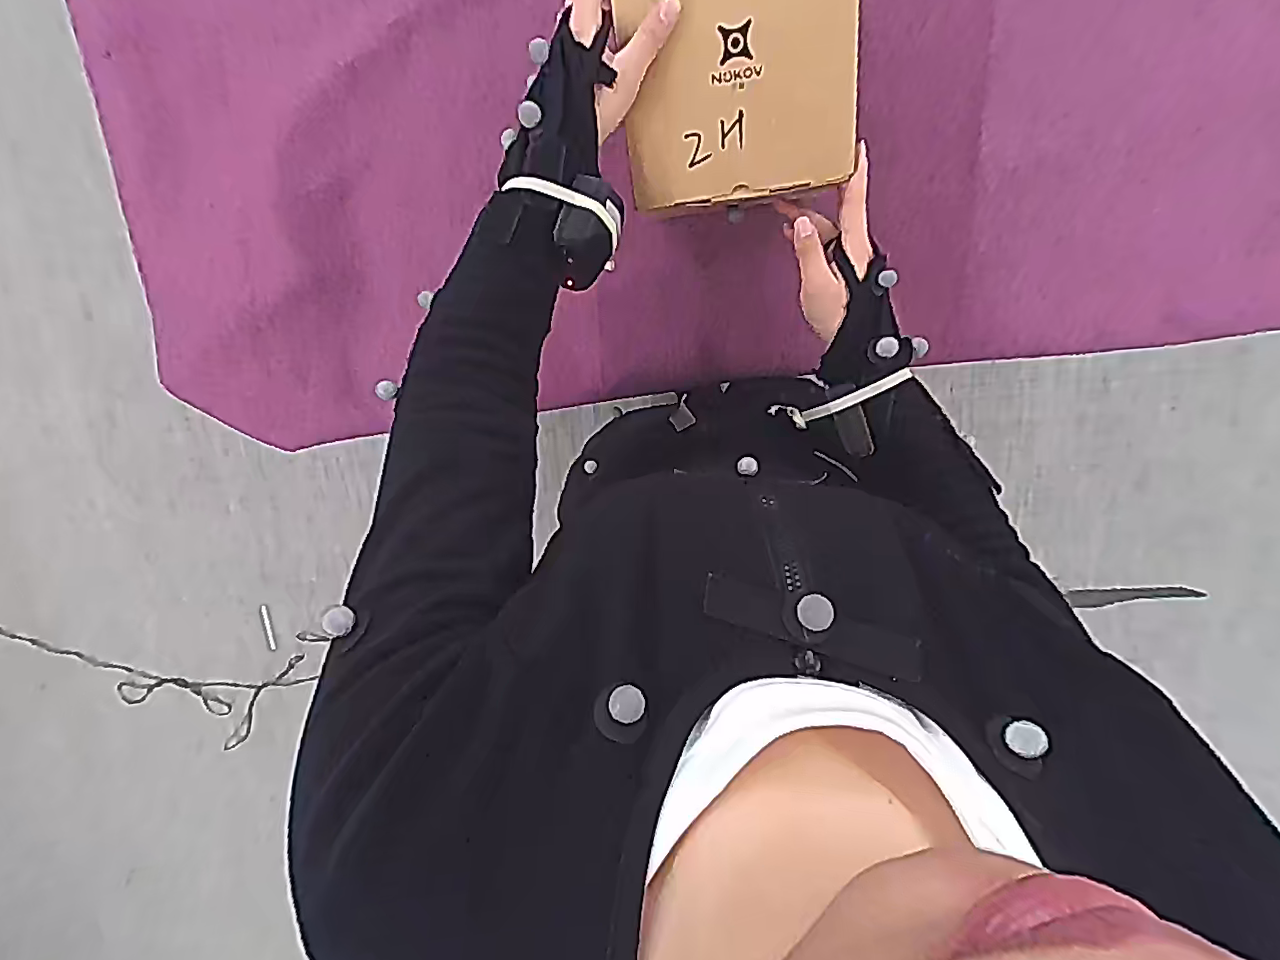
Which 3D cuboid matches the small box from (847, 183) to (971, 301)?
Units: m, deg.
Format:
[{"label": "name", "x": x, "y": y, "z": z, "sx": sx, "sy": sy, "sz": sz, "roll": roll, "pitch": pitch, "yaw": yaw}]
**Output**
[{"label": "small box", "x": 0.500, "y": -0.440, "z": 1.029, "sx": 0.168, "sy": 0.176, "sz": 0.179, "roll": -3, "pitch": 102, "yaw": 6}]
